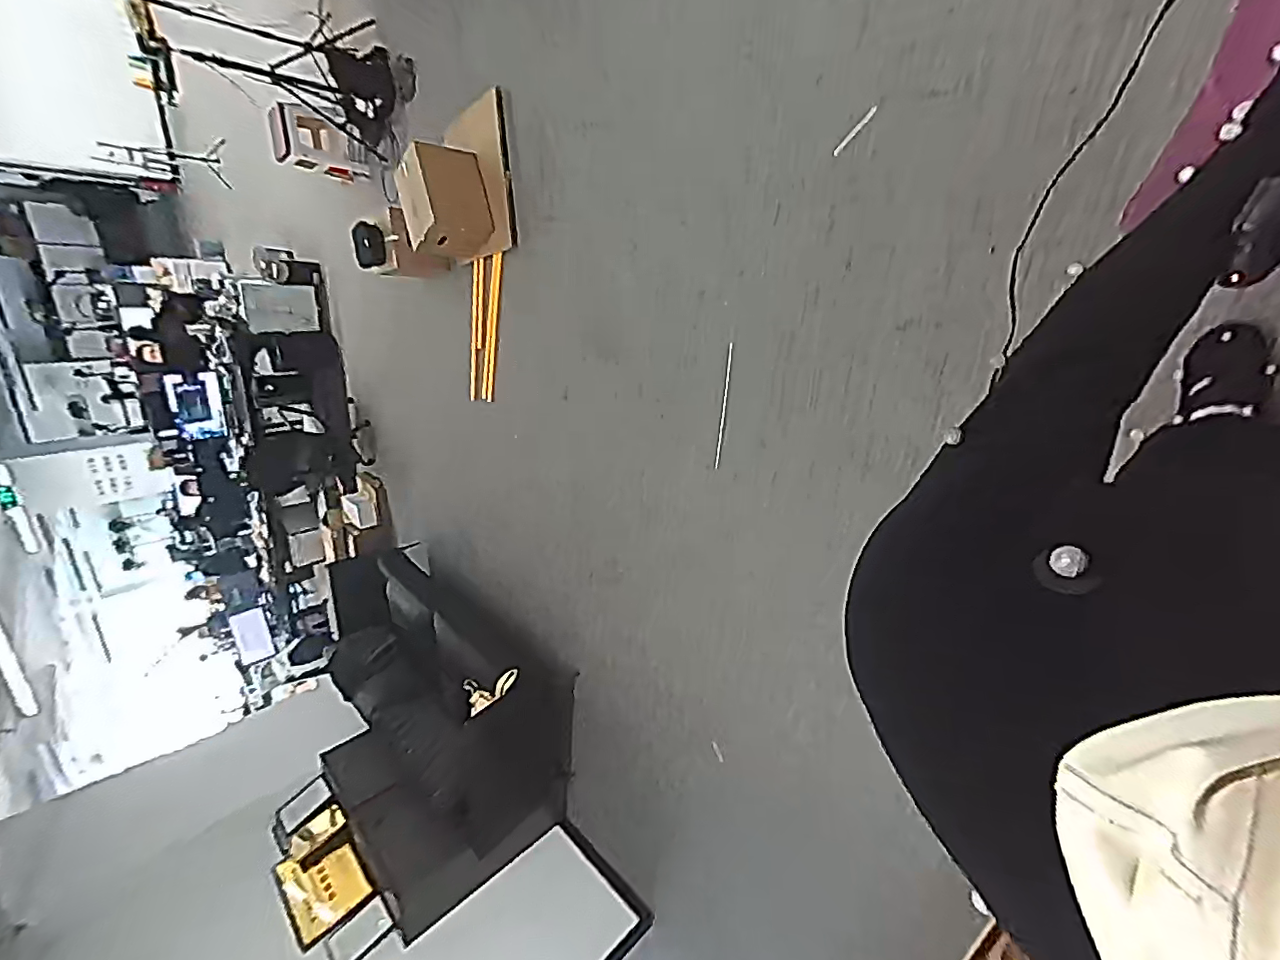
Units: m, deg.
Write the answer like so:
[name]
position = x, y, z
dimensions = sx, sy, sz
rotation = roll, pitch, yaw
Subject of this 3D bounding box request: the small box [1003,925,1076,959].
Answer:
[small box]
position = 1.105, 1.398, 1.486
dimensions = 0.168, 0.176, 0.179
rotation = 28, 120, 37
